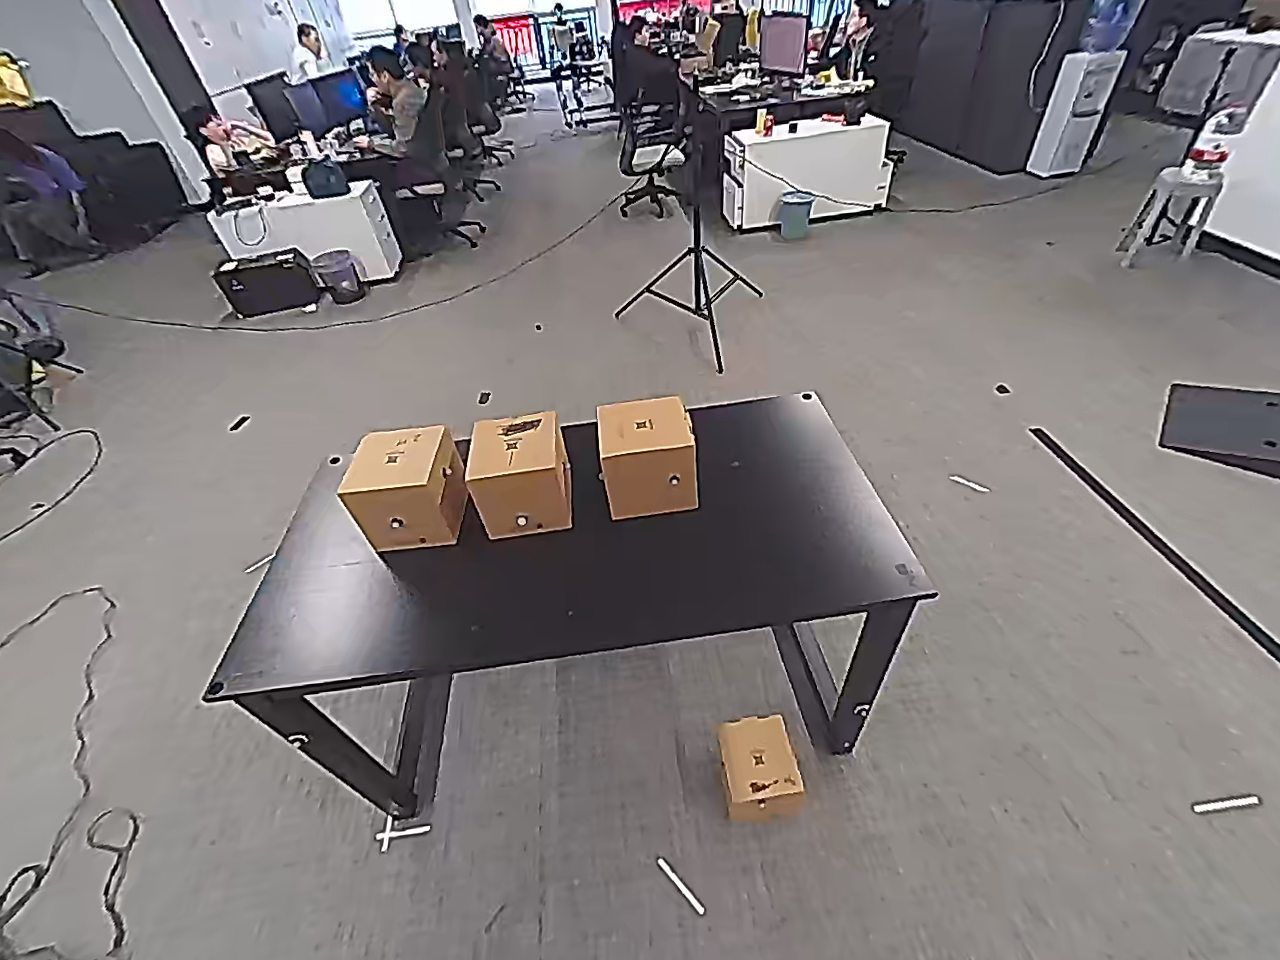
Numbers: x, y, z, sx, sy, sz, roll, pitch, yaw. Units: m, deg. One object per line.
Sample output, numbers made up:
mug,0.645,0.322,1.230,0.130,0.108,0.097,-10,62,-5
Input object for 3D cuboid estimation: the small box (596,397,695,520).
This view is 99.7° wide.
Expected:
small box,0.013,-0.041,1.084,0.179,0.176,0.168,-9,41,0

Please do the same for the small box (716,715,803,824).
small box,0.282,0.704,1.315,0.168,0.176,0.179,-9,42,-1

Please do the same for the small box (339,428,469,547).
small box,-0.456,0.021,1.079,0.168,0.176,0.179,-6,43,1

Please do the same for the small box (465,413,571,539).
small box,-0.233,-0.008,1.079,0.168,0.176,0.179,-8,43,-1
